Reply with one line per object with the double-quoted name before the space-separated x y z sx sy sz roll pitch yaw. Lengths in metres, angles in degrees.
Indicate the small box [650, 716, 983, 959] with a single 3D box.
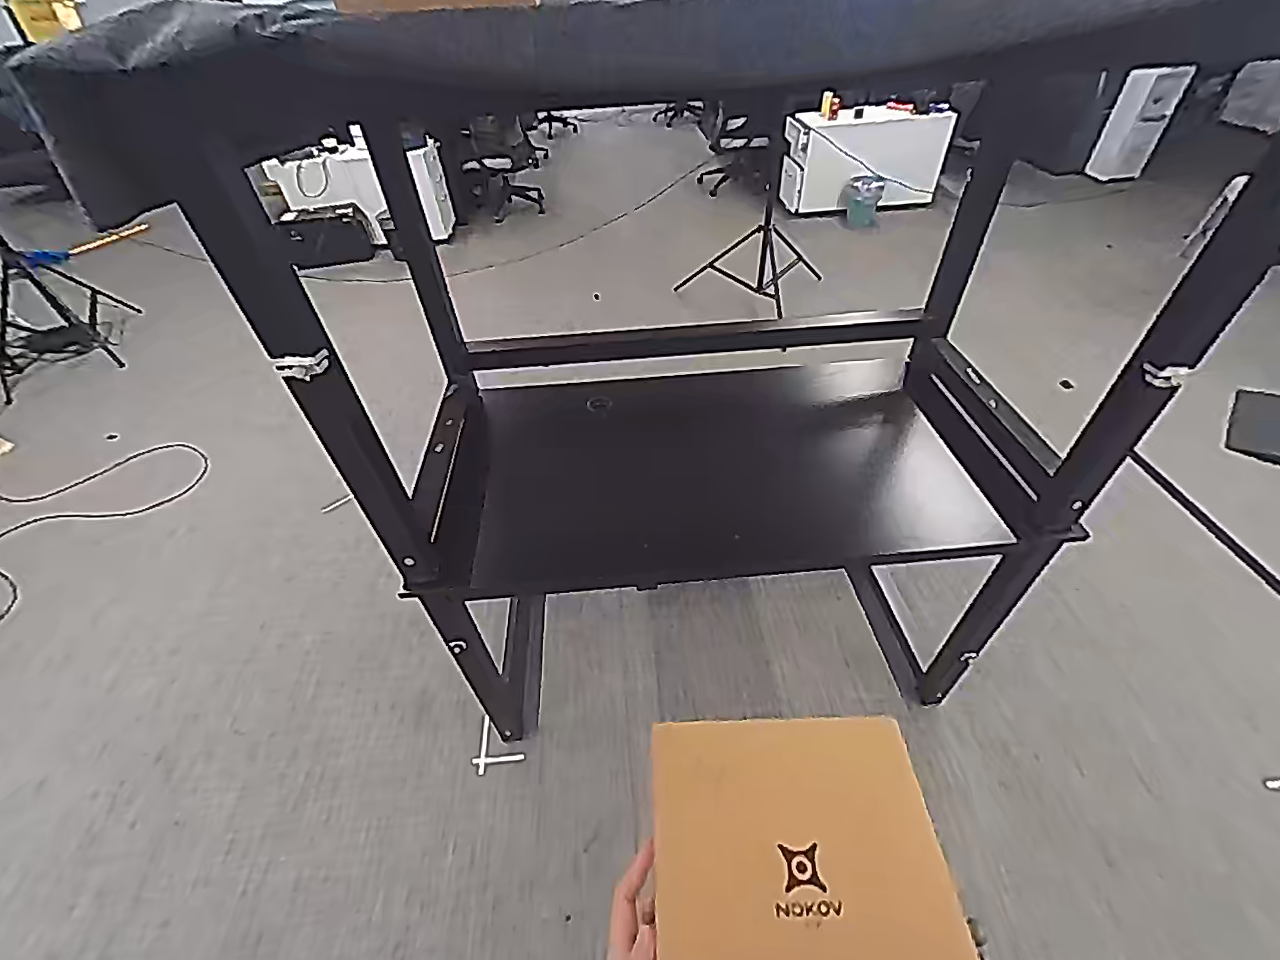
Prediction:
"small box" 0.092 0.278 0.355 0.168 0.176 0.179 -2 44 0
